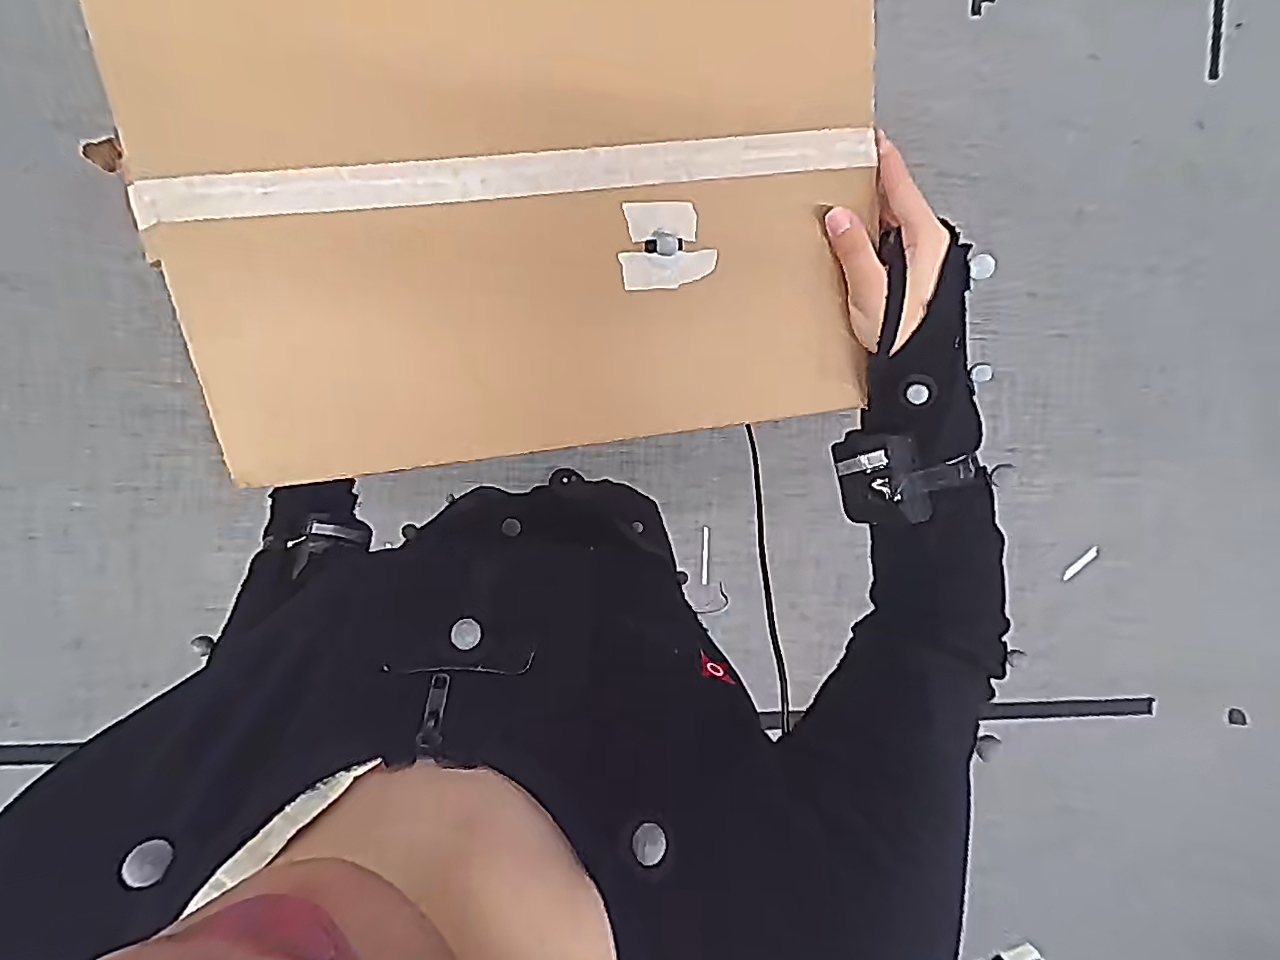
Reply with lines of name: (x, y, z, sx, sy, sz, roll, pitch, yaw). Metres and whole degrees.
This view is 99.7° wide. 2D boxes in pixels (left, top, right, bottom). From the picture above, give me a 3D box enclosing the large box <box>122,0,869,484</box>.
large box: (-0.077, -0.207, 0.459, 0.408, 0.320, 0.320, -9, 105, -8)
